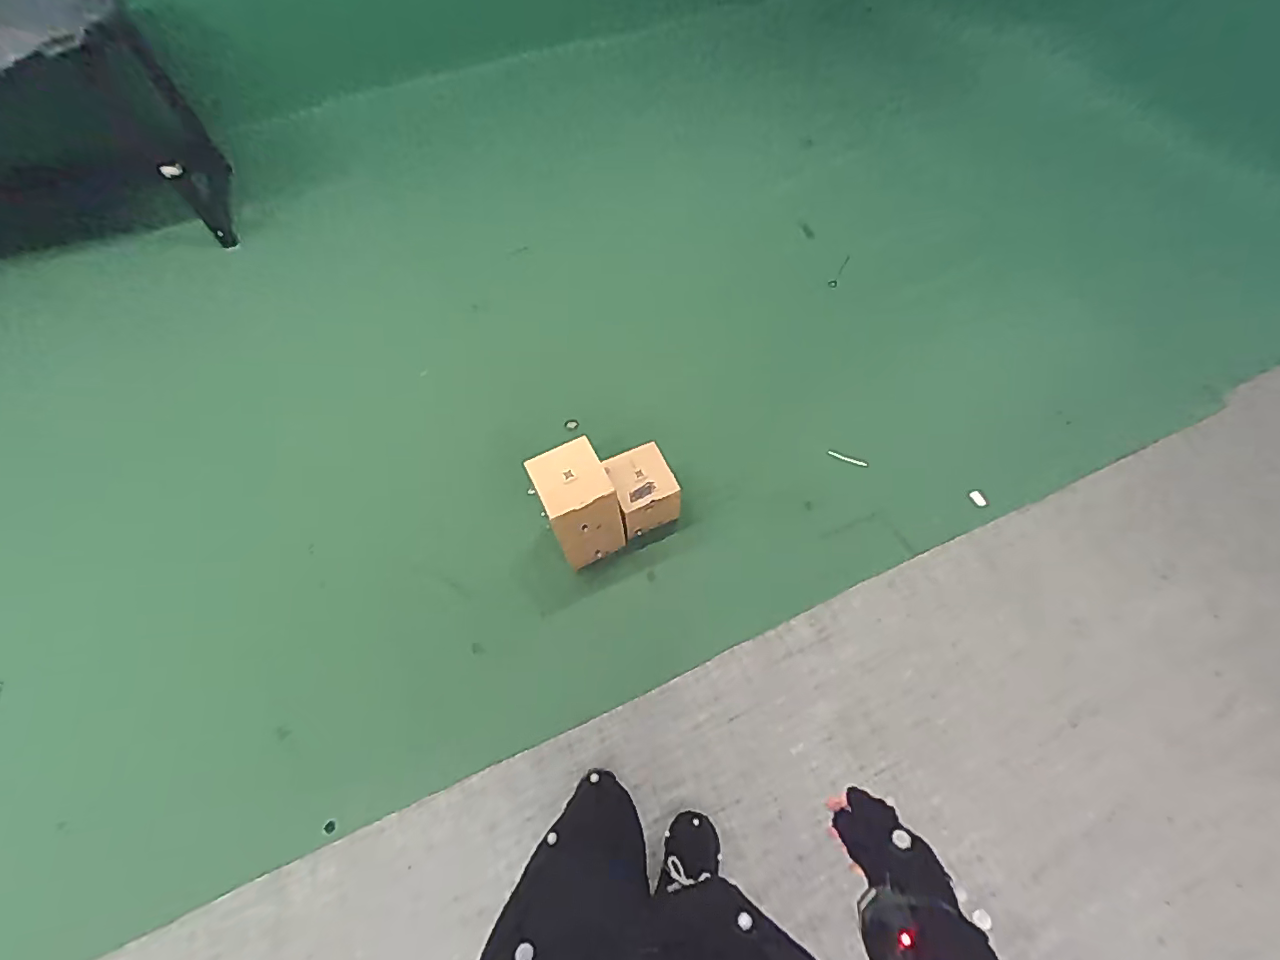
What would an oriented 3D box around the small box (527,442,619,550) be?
[{"bbox_3d":[-0.162,0.044,1.338,0.168,0.176,0.179,-26,64,-12],"label":"small box"}]
